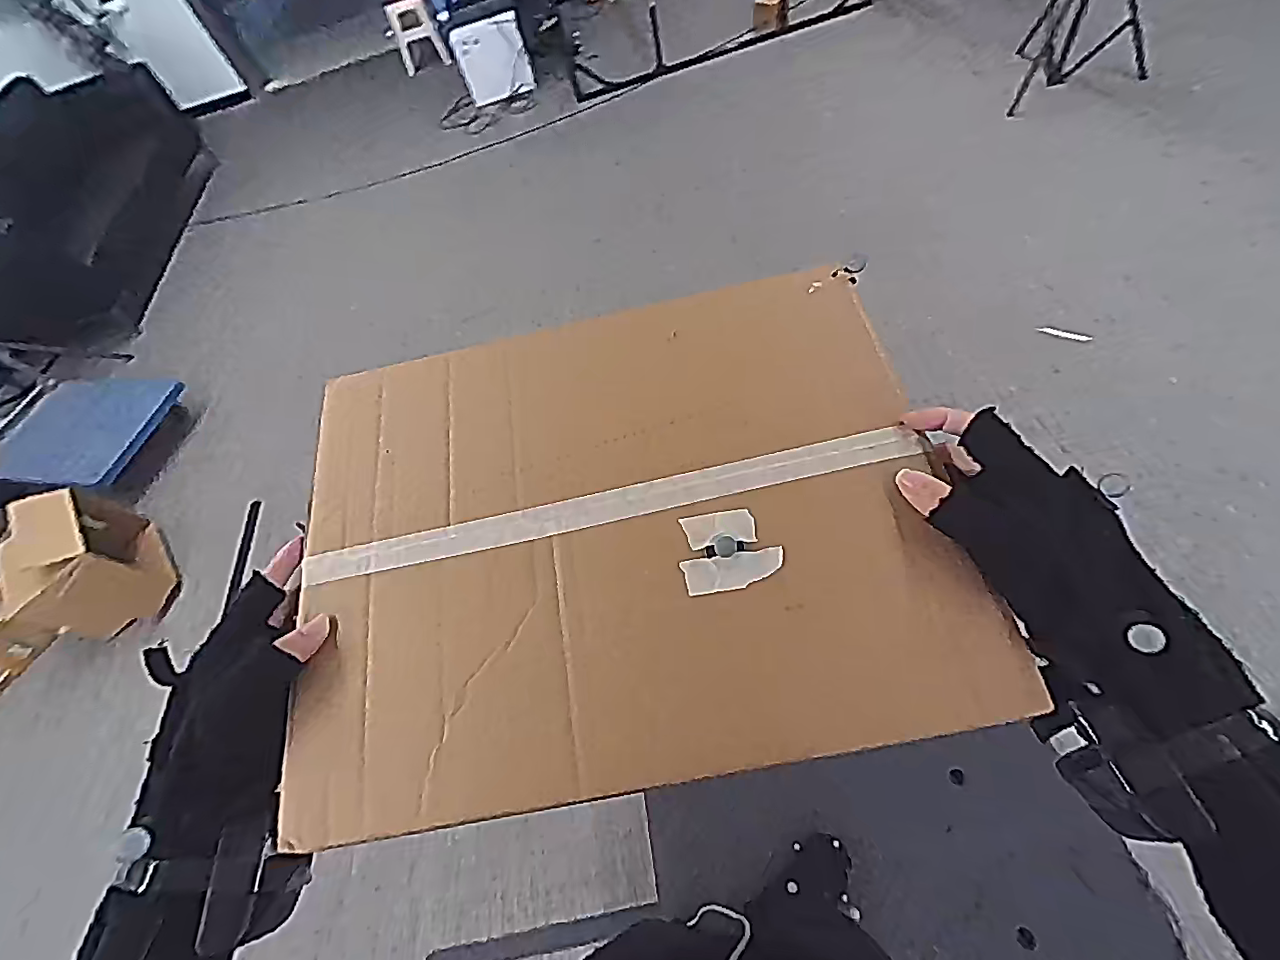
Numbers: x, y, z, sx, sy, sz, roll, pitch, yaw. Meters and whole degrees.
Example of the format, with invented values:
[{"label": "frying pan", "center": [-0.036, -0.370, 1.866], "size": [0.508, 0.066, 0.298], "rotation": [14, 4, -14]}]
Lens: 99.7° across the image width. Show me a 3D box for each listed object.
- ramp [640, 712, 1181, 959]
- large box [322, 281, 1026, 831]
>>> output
[{"label": "ramp", "center": [0.525, 0.824, 1.144], "size": [0.991, 0.206, 0.509], "rotation": [-15, 55, 3]}, {"label": "large box", "center": [0.007, 0.084, 0.492], "size": [0.408, 0.320, 0.320], "rotation": [-12, 65, 2]}]
